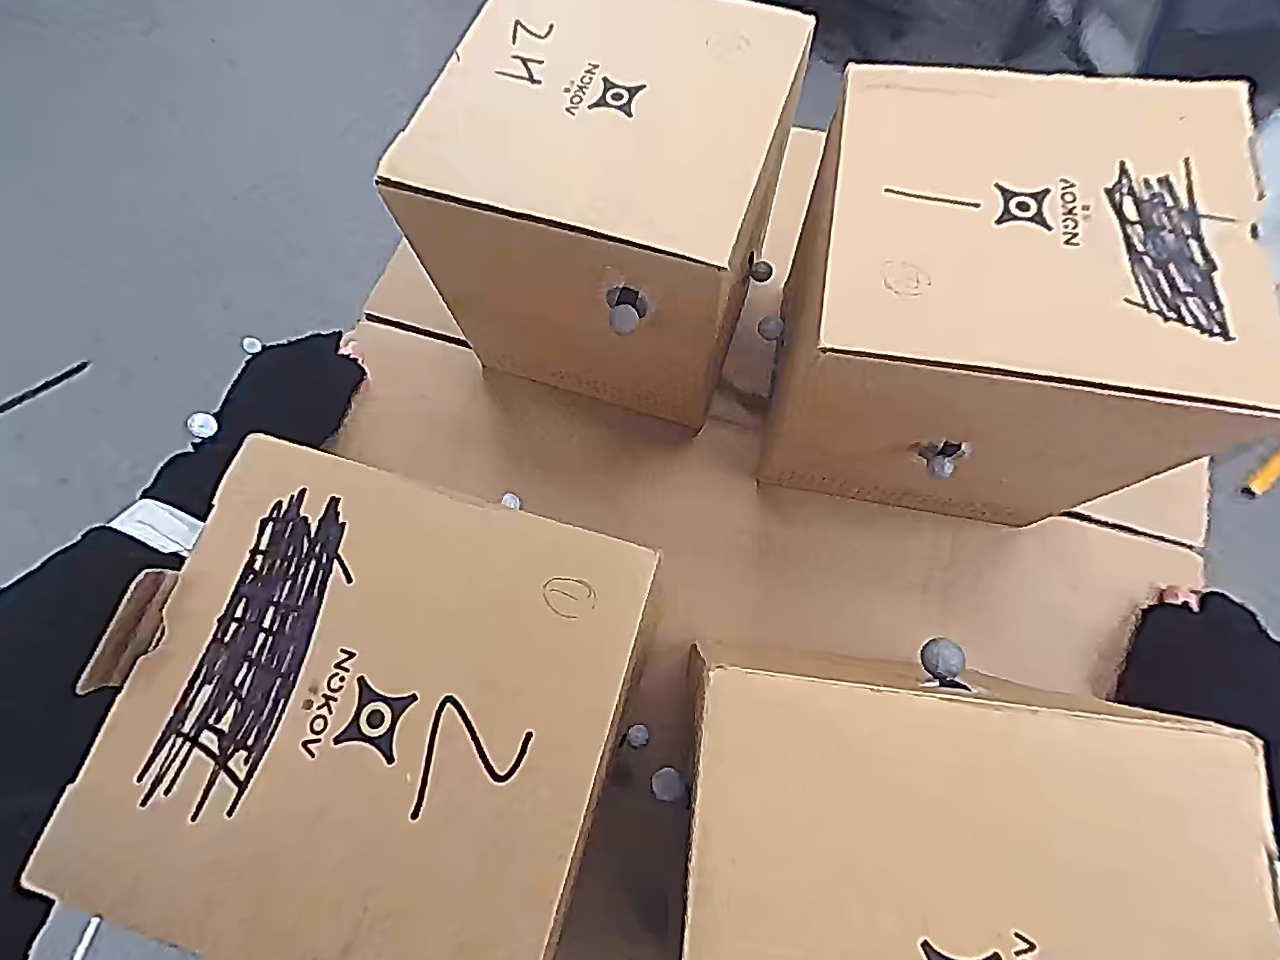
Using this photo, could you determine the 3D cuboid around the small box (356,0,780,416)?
[{"bbox_3d":[-0.029,-0.161,0.351,0.179,0.176,0.168,17,72,9],"label":"small box"}]
